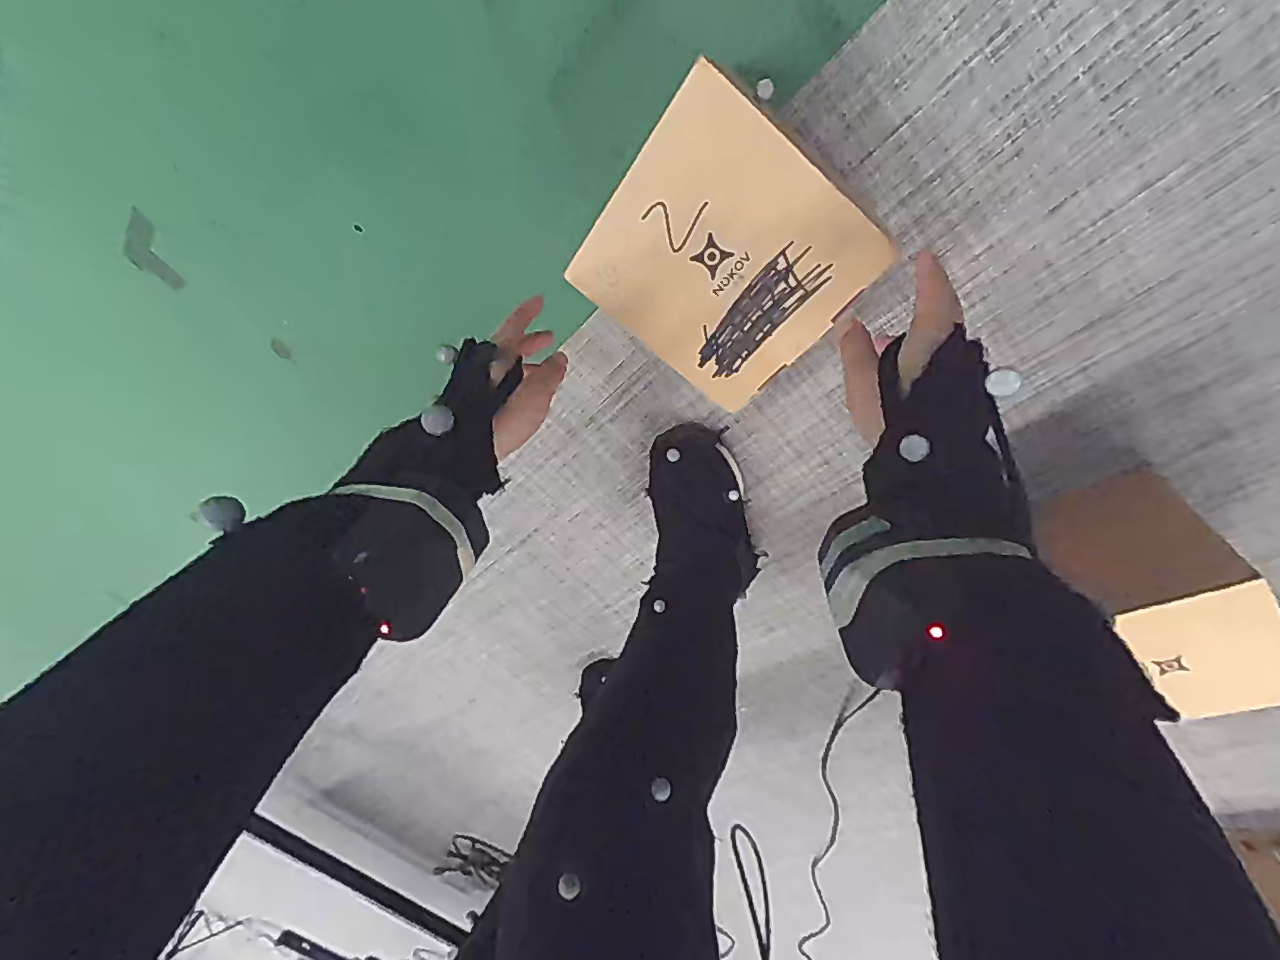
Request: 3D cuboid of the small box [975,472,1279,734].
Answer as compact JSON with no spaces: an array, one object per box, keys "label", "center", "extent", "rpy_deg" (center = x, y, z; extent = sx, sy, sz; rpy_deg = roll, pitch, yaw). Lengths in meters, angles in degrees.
[{"label":"small box","center":[0.485,0.122,0.553],"extent":[0.179,0.176,0.168],"rpy_deg":[-32,110,32]}]
